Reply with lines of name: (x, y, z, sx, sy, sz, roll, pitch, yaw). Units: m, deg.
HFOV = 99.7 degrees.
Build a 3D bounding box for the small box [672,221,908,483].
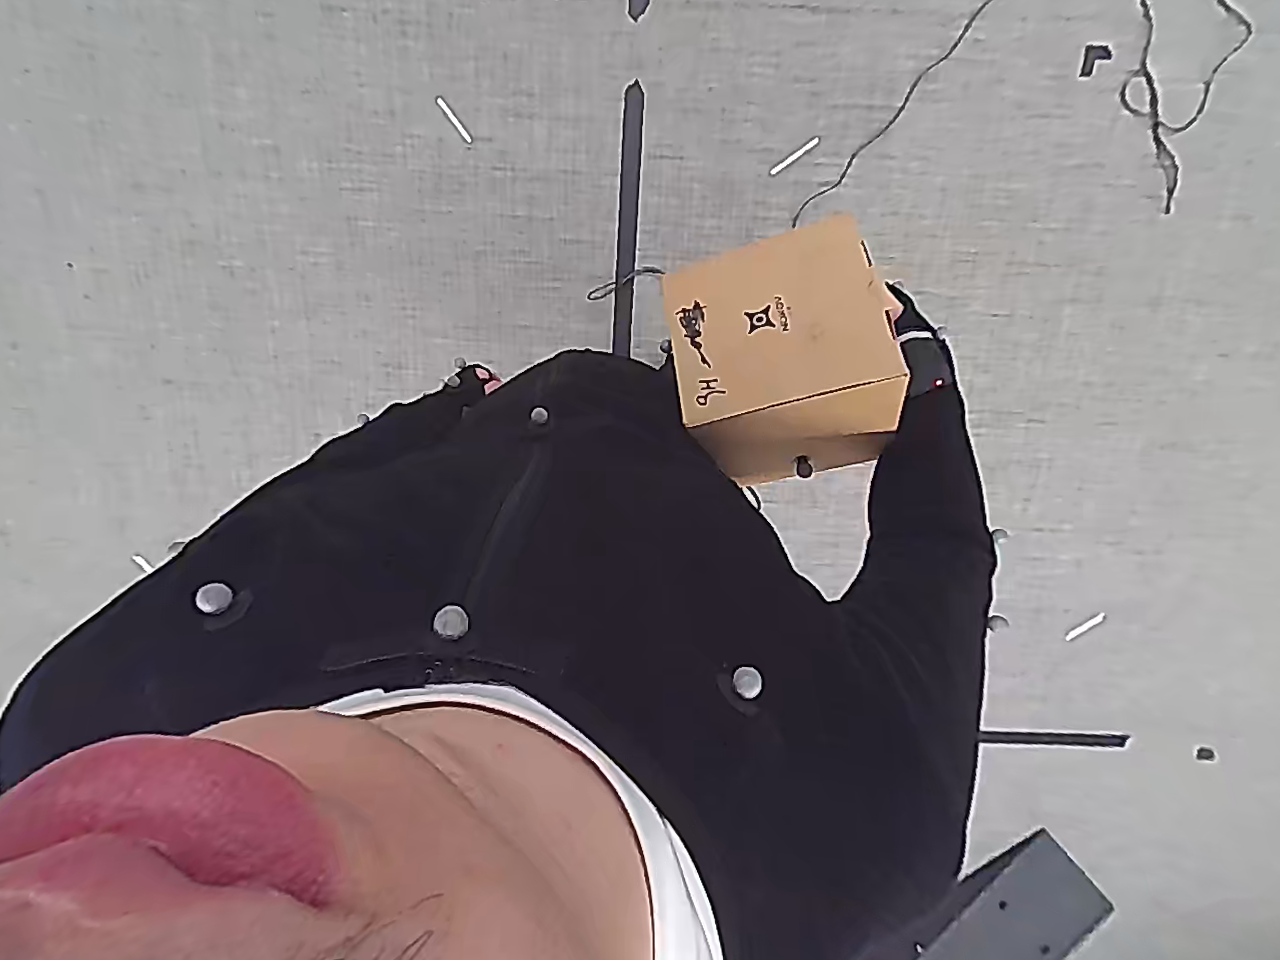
small box: (0.143, -0.111, 0.540, 0.179, 0.176, 0.168, -13, 66, 15)
